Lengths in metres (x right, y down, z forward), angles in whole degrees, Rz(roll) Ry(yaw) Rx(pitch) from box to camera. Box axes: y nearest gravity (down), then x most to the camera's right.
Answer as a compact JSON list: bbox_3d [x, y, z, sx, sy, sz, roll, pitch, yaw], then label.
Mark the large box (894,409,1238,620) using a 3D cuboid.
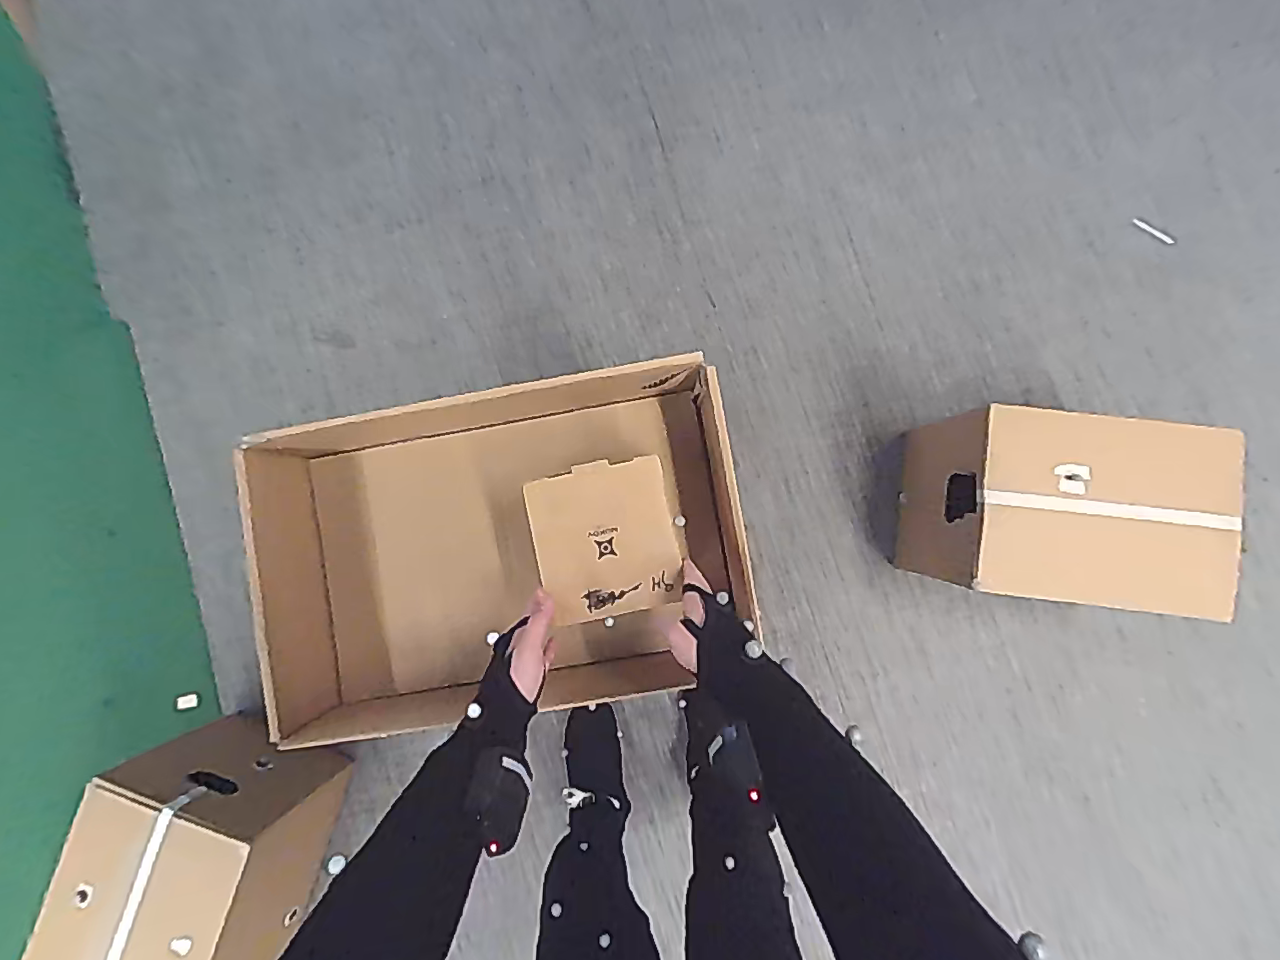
[{"bbox_3d":[0.759,0.059,1.024,0.408,0.320,0.320,7,87,4],"label":"large box"}]
